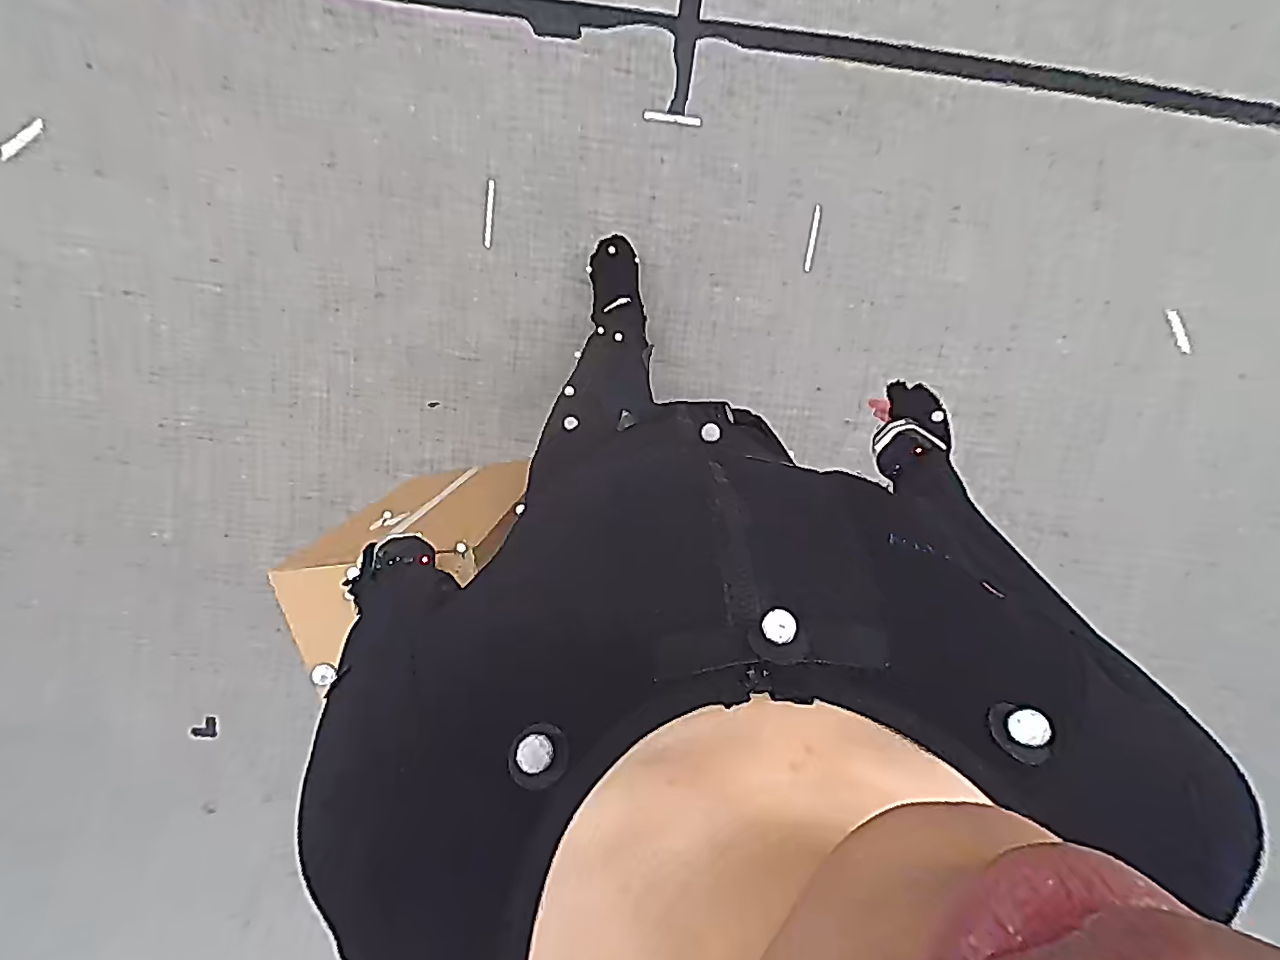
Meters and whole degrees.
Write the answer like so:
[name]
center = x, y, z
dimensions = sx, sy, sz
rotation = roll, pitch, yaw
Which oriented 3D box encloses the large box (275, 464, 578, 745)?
[large box]
center = -0.322, 0.193, 0.965
dimensions = 0.320, 0.408, 0.320
rotation = -9, 108, 9
